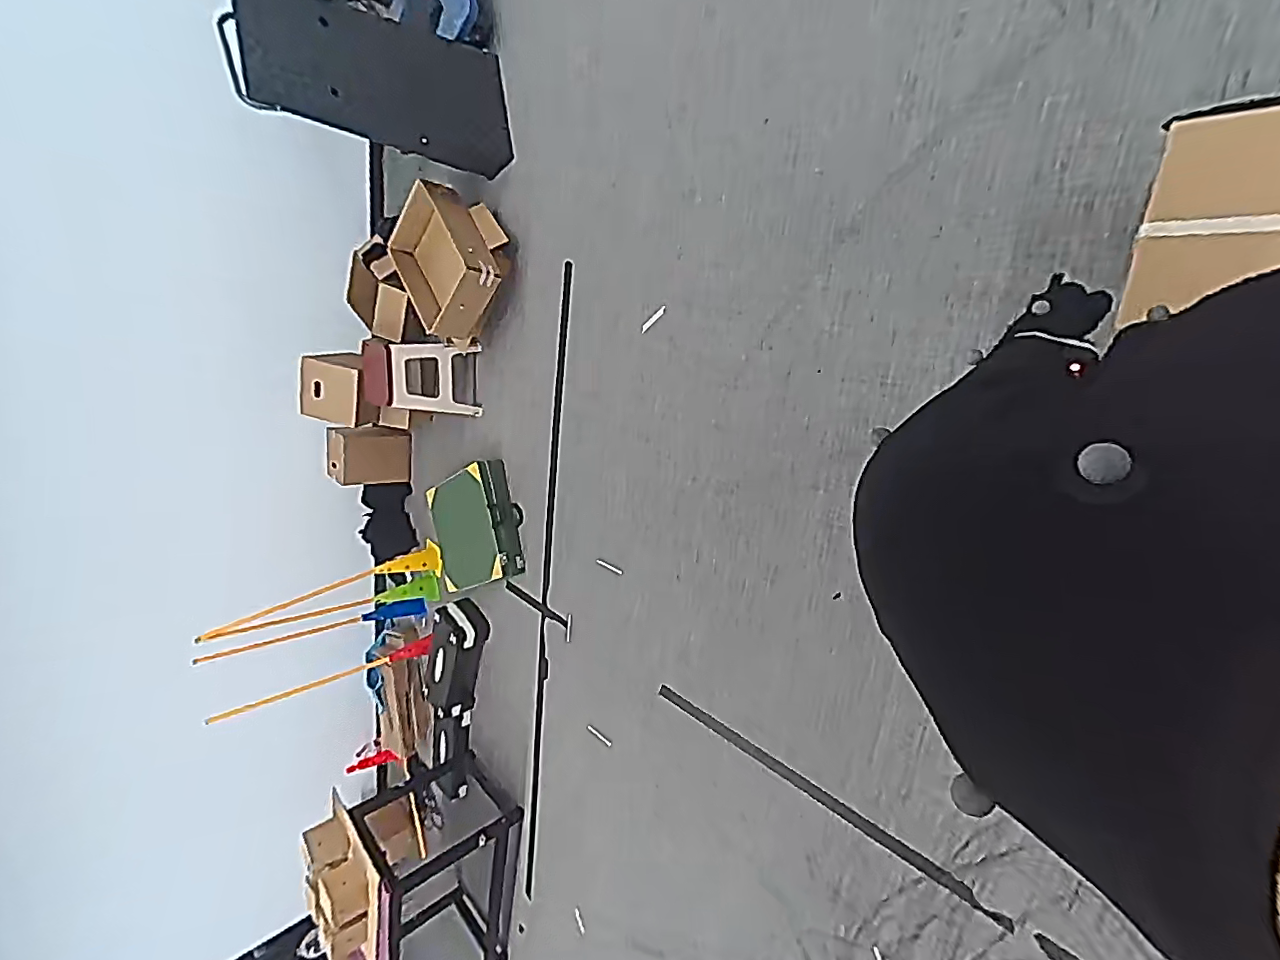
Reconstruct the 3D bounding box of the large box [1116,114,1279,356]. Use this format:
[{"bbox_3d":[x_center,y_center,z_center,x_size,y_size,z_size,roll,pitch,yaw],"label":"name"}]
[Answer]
[{"bbox_3d":[1.058,-0.366,0.858,0.408,0.320,0.320,18,108,41],"label":"large box"}]
